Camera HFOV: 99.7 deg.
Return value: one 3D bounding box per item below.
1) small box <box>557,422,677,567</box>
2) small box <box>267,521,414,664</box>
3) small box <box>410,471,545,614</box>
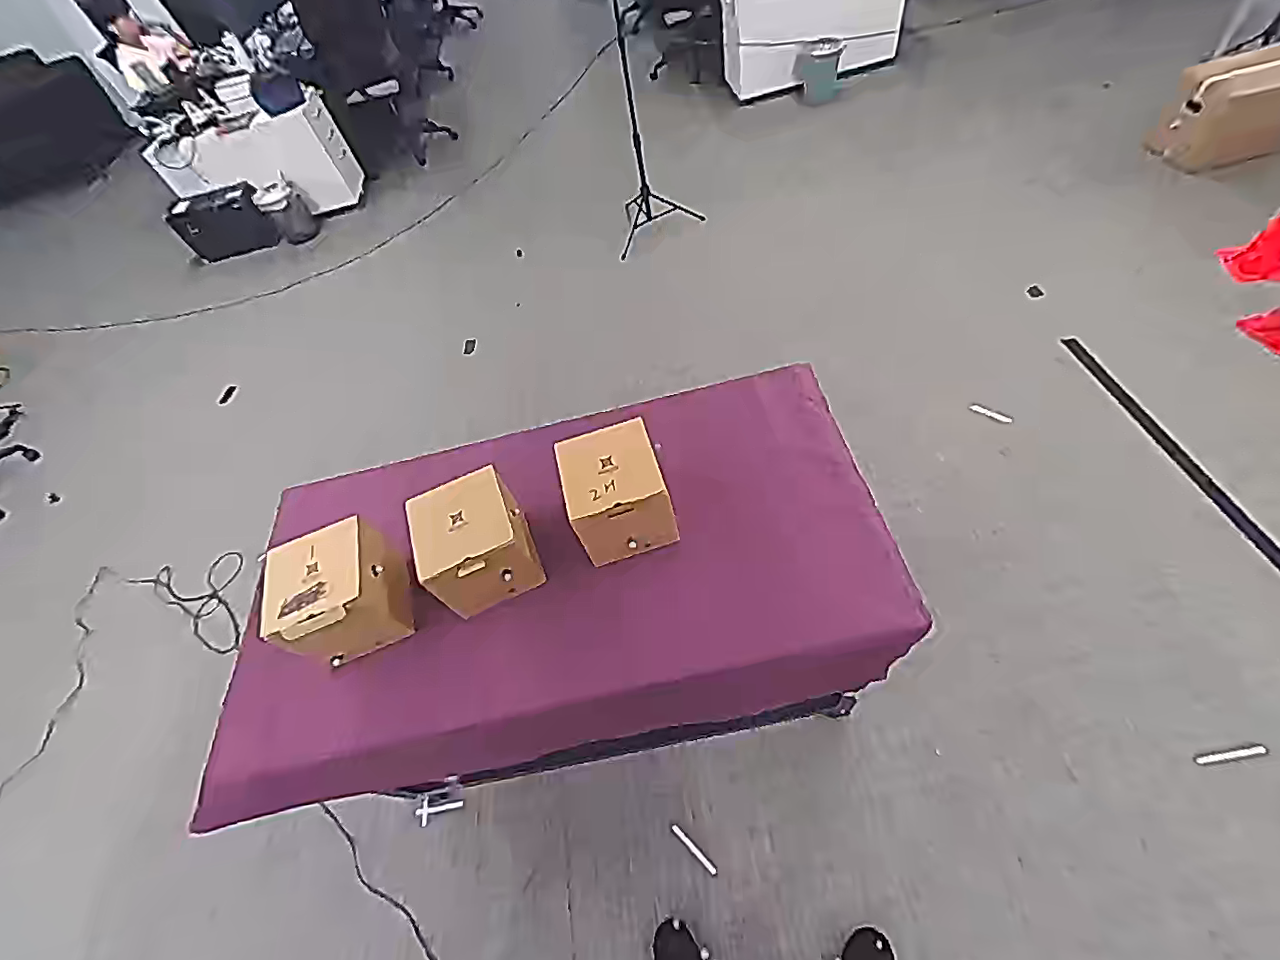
[{"bbox_3d":[-0.040,0.030,0.984,0.168,0.176,0.179,-18,54,0],"label":"small box"},{"bbox_3d":[-0.524,0.209,0.966,0.168,0.176,0.179,-23,53,-4],"label":"small box"},{"bbox_3d":[-0.289,0.121,0.978,0.168,0.176,0.179,-24,53,-5],"label":"small box"}]
